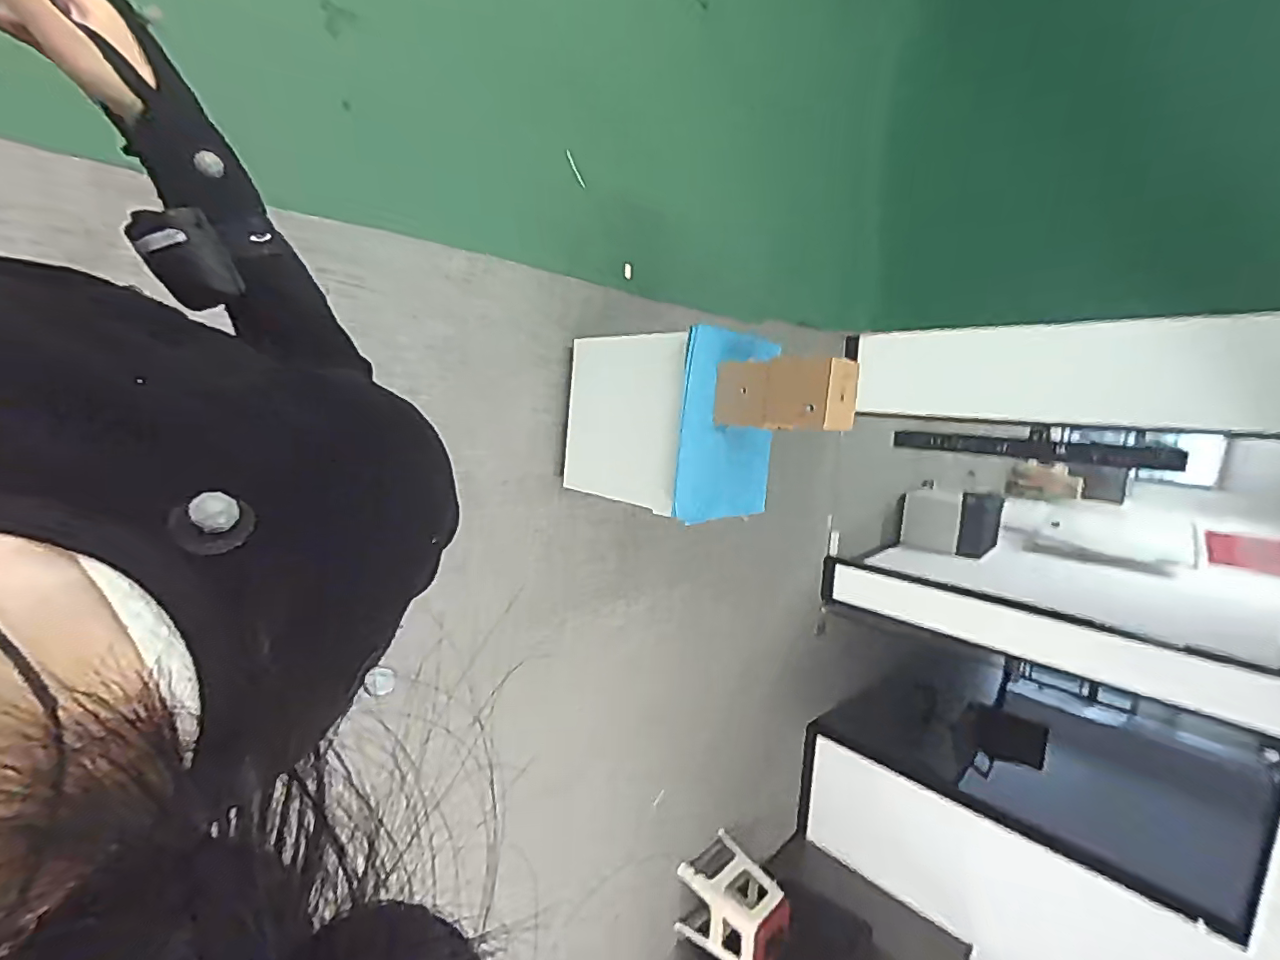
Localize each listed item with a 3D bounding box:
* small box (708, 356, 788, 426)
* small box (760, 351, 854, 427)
[{"bbox_3d":[0.307,-0.247,1.506,0.168,0.176,0.179,-4,101,-46],"label":"small box"},{"bbox_3d":[0.425,-0.233,1.392,0.168,0.176,0.179,-4,101,-47],"label":"small box"}]
